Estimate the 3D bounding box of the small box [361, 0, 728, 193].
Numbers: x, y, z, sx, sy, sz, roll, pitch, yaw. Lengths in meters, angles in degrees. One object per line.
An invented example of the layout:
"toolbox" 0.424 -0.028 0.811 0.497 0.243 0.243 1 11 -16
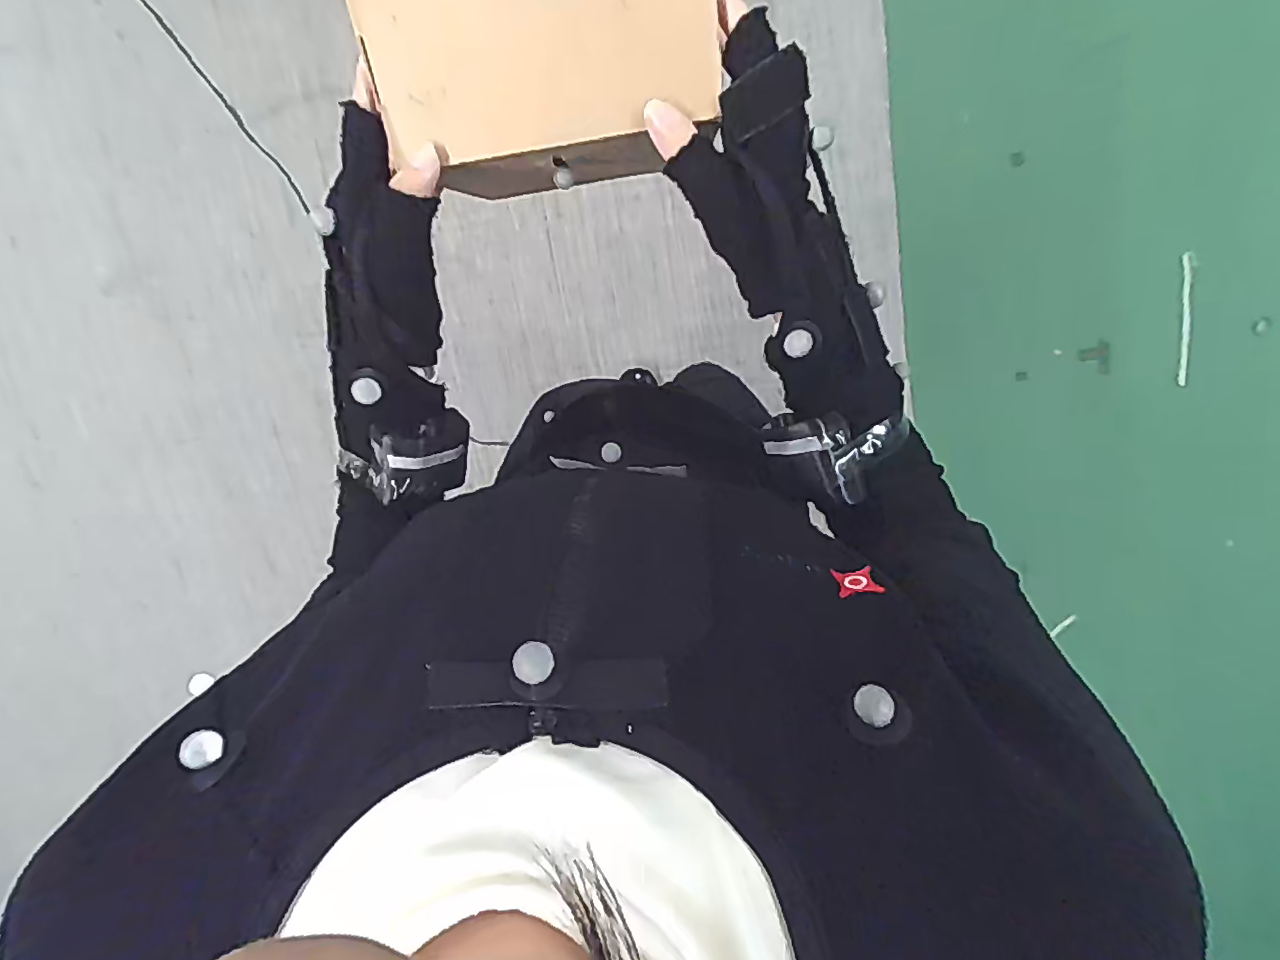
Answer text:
"small box" -0.048 -0.280 0.324 0.179 0.176 0.168 -7 114 5
